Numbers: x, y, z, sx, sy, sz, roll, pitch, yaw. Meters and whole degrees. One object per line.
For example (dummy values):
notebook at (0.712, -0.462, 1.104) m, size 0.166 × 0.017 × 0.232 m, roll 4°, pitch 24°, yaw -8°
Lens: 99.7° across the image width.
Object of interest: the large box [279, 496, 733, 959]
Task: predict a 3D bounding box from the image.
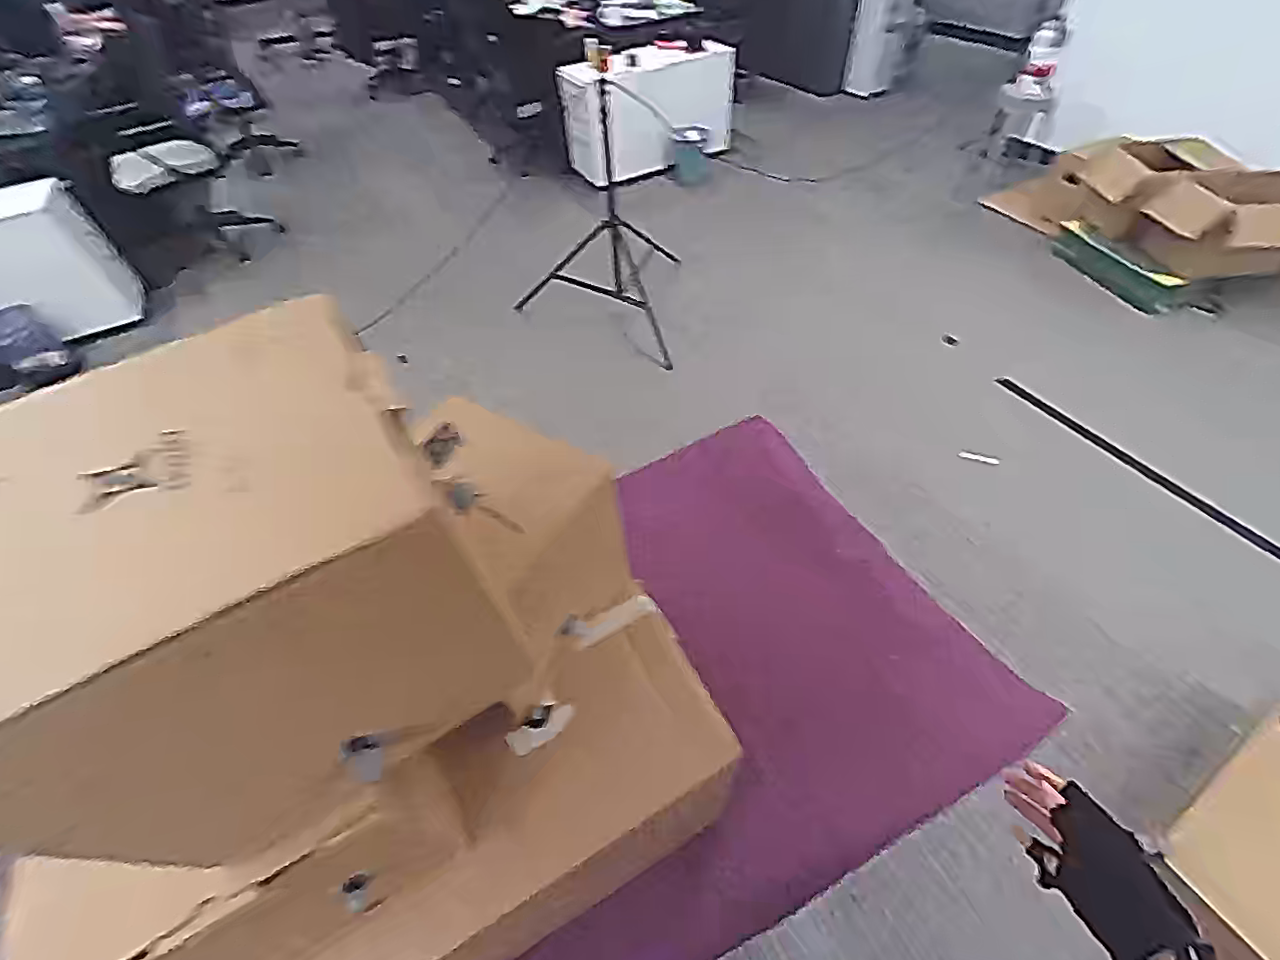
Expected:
large box at (-0.160, 0.293, 0.586) m, size 0.408 × 0.320 × 0.320 m, roll -25°, pitch 54°, yaw -17°

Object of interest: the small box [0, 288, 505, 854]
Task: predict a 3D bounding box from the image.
small box at (-0.182, 0.044, 0.264) m, size 0.179 × 0.176 × 0.168 m, roll -28°, pitch 54°, yaw -17°

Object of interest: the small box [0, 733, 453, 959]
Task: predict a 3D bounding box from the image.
small box at (-0.245, 0.195, 0.357) m, size 0.168 × 0.176 × 0.179 m, roll -26°, pitch 52°, yaw -19°
